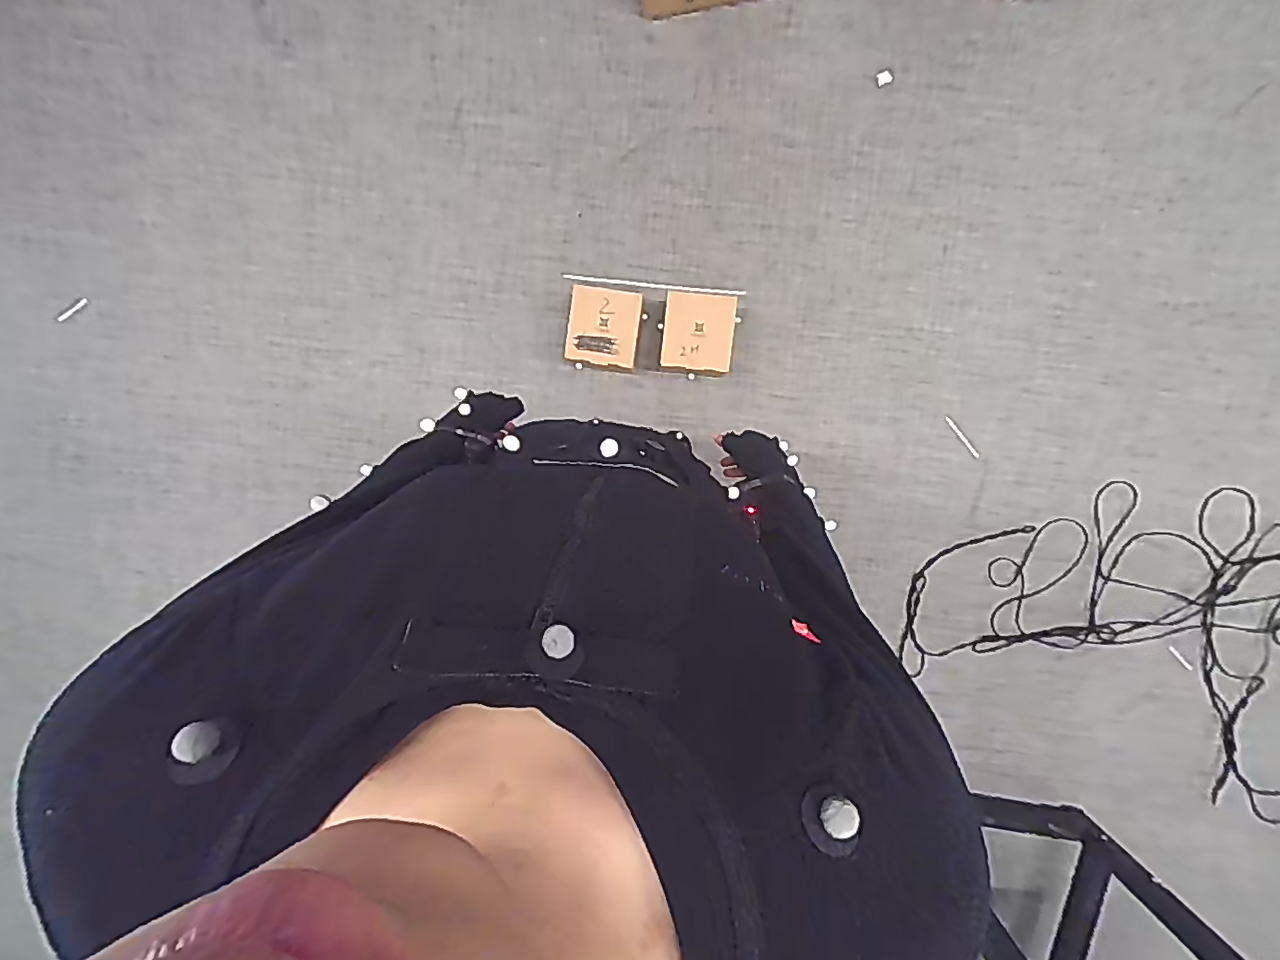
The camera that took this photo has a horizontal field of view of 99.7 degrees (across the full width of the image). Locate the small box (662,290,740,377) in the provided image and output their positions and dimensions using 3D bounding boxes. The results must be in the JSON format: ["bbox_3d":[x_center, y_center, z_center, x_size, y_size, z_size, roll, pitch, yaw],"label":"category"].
[{"bbox_3d":[0.144,-0.356,1.339,0.168,0.176,0.179,6,97,2],"label":"small box"}]
